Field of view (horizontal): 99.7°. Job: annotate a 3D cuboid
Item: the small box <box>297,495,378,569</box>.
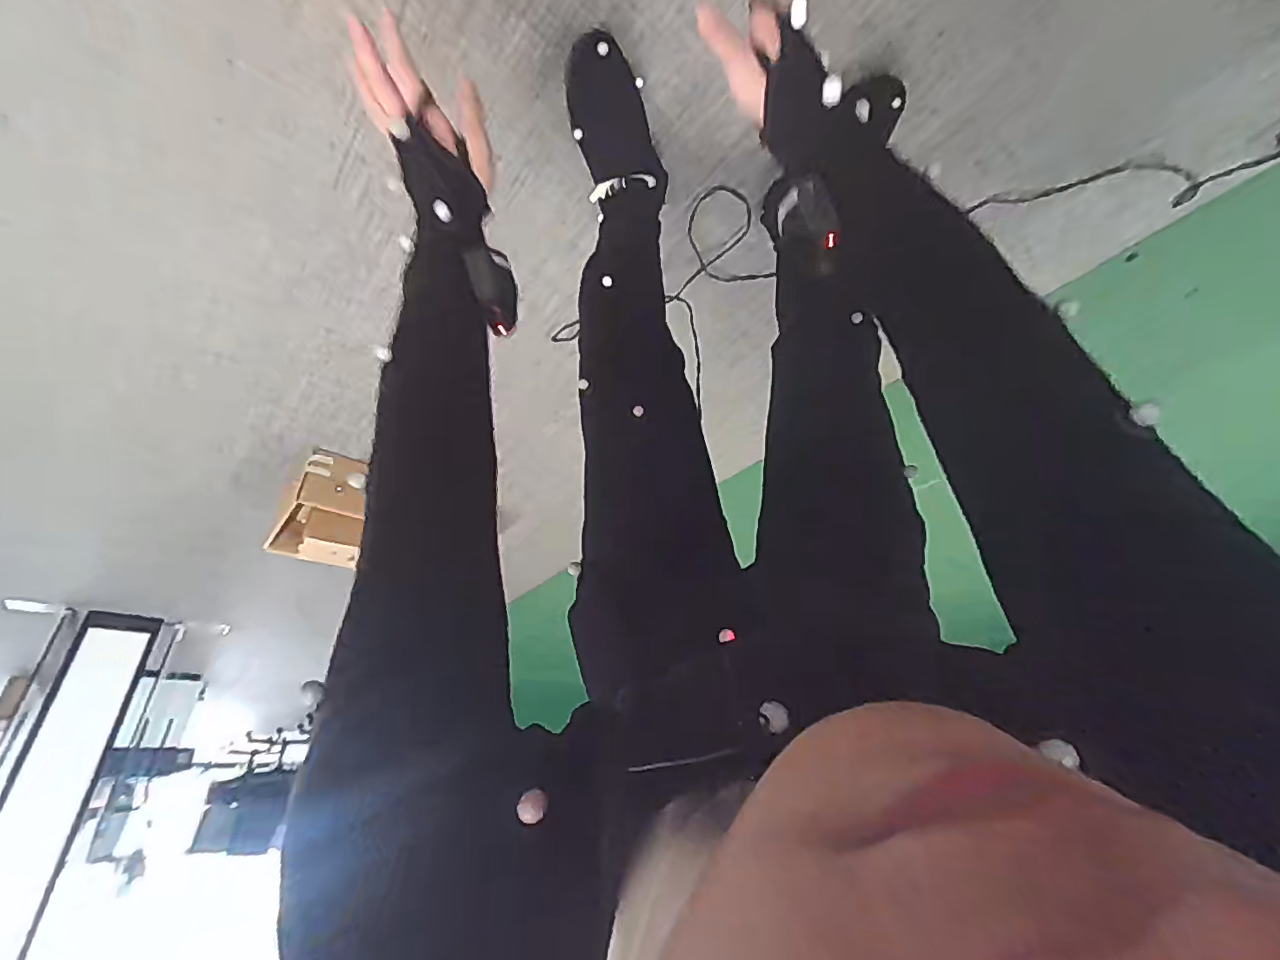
[{"bbox_3d":[-0.977,0.166,1.752,0.179,0.176,0.168,19,141,-32],"label":"small box"}]
